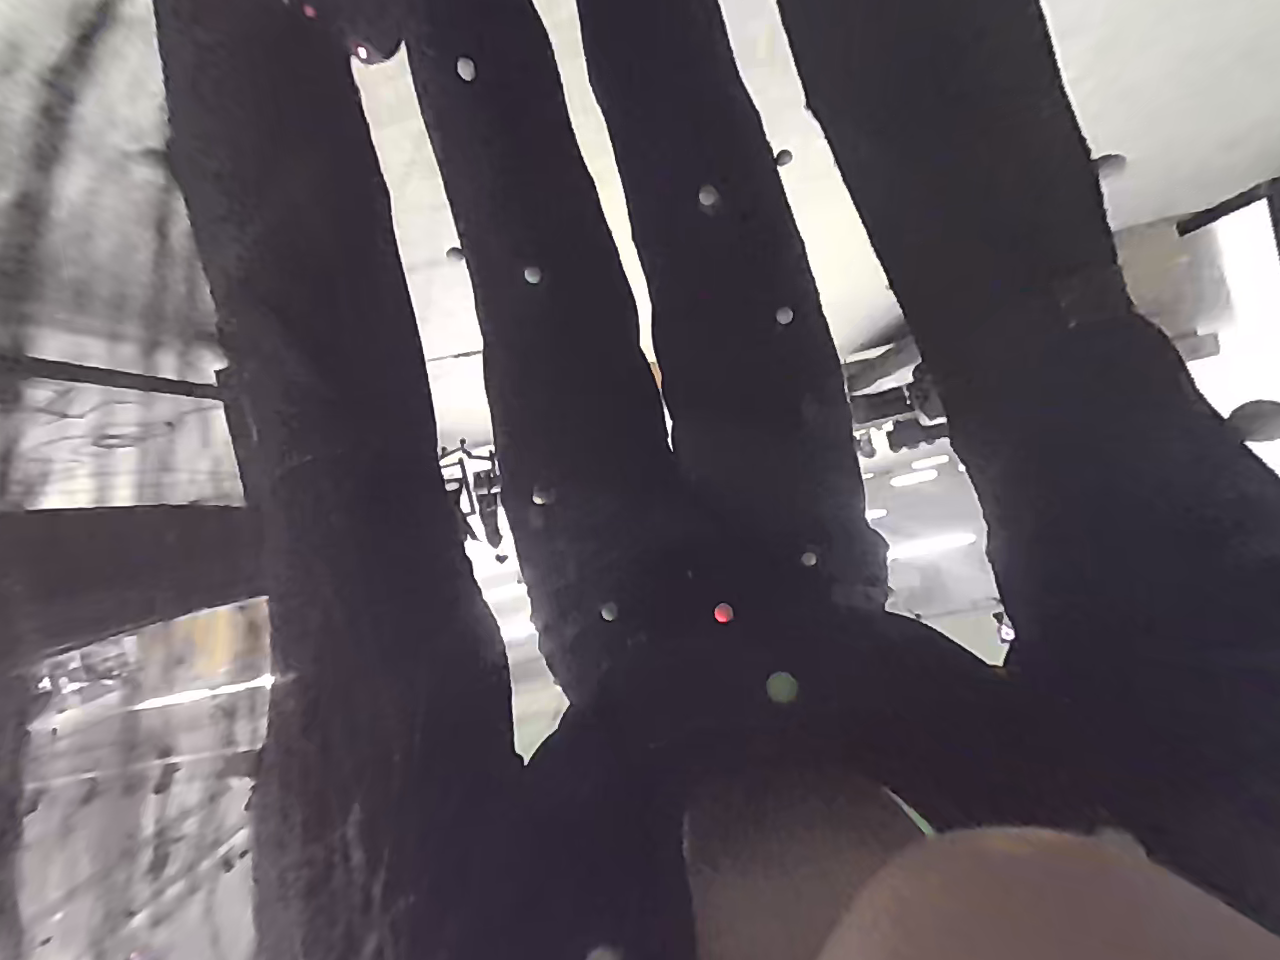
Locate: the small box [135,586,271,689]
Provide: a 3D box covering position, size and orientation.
[{"bbox_3d":[-0.996,0.350,1.234,0.179,0.176,0.168,-13,180,7],"label":"small box"}]
